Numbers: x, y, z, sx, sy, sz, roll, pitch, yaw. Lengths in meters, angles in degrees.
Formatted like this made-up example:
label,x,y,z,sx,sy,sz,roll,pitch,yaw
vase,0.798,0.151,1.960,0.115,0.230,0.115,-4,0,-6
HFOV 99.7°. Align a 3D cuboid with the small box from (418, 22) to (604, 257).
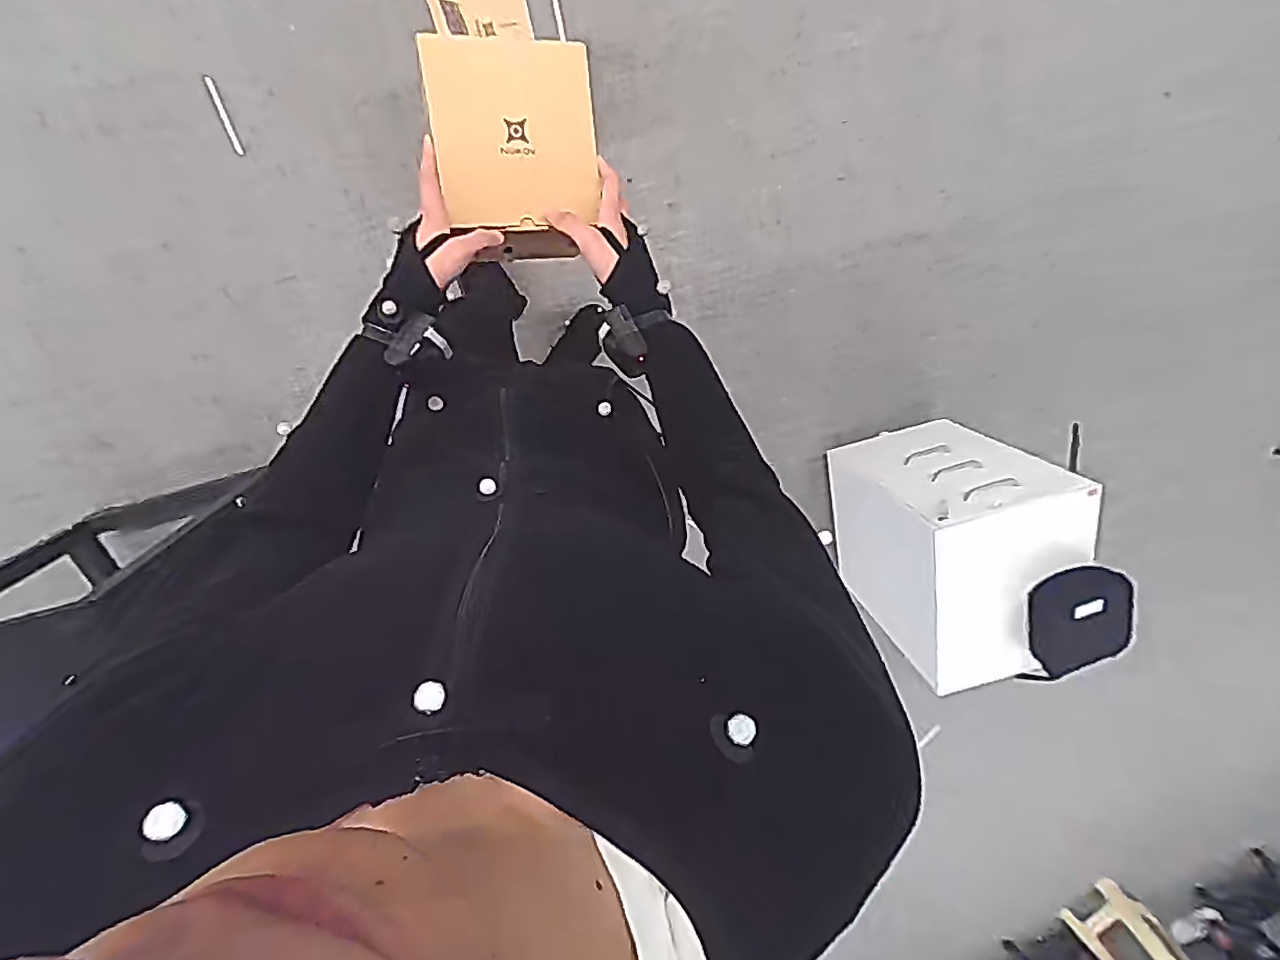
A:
label,x,y,z,sx,sy,sz,roll,pitch,yaw
small box,-0.147,-0.364,0.612,0.168,0.176,0.179,-9,104,-15
